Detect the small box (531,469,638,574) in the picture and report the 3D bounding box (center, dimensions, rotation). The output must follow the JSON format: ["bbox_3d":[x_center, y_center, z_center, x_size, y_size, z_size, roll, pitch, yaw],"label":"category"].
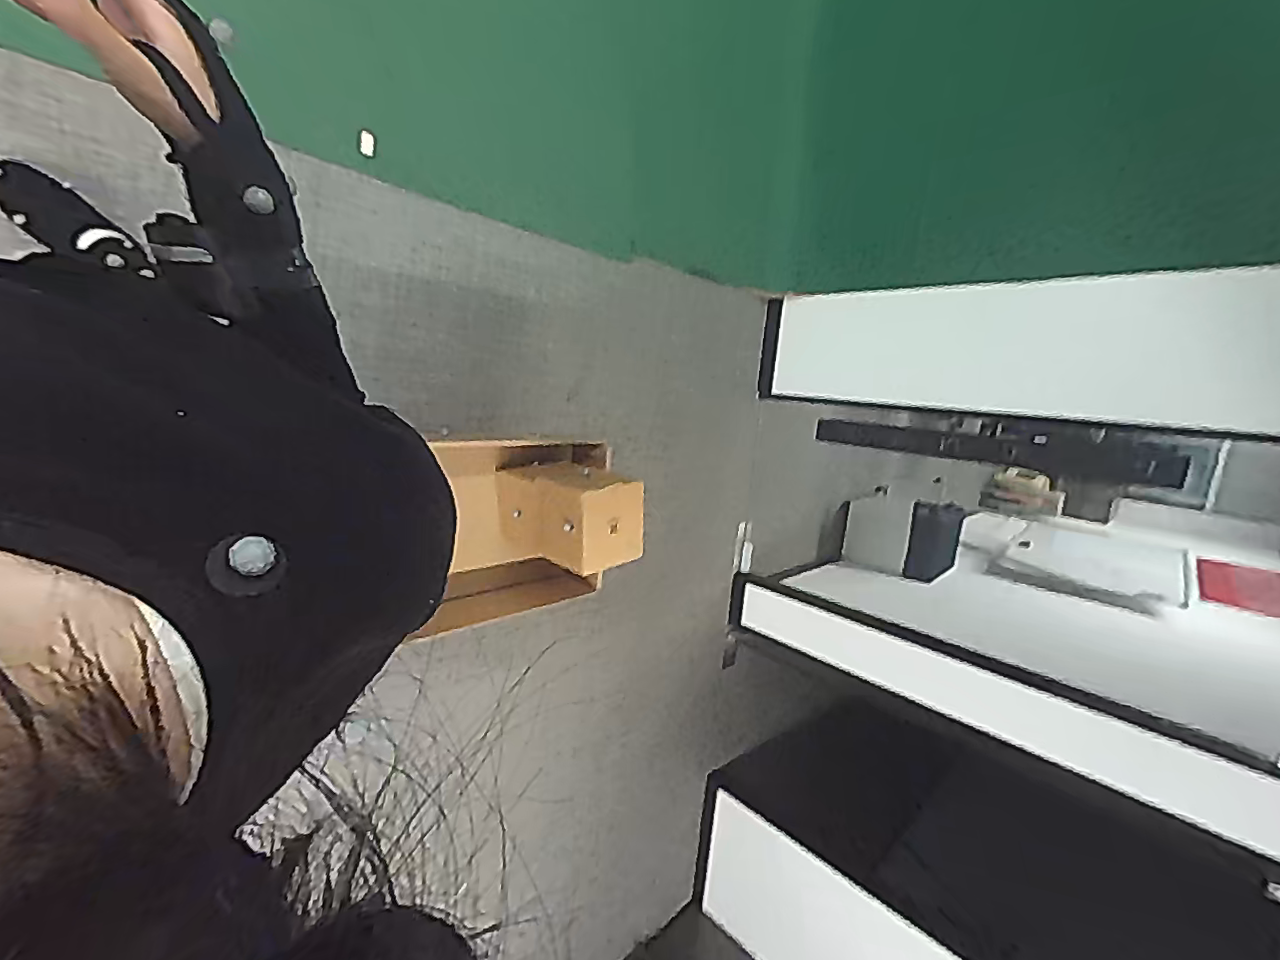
[{"bbox_3d":[-0.122,0.082,1.168,0.168,0.176,0.179,-11,106,-43],"label":"small box"}]
